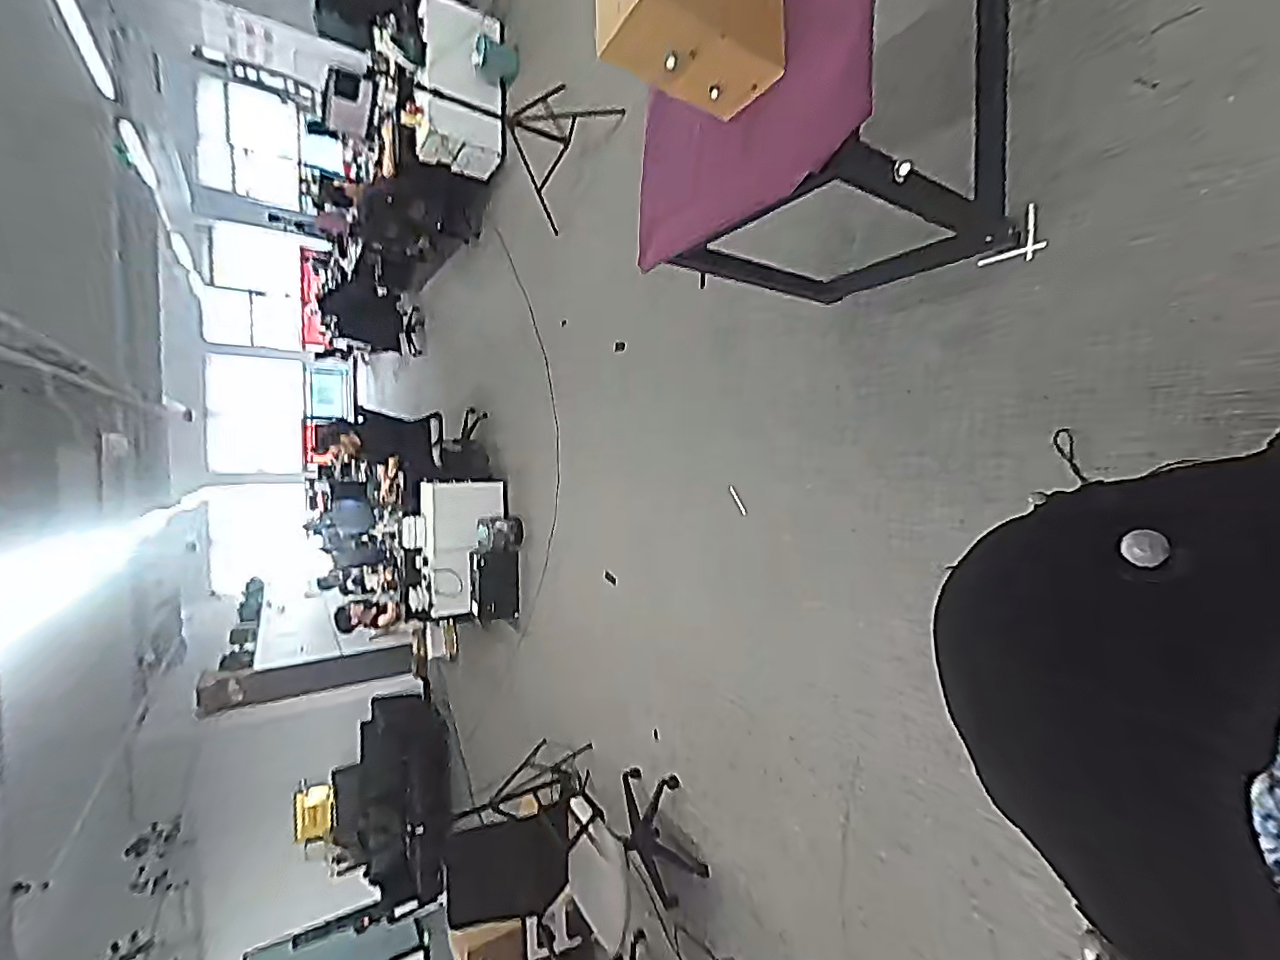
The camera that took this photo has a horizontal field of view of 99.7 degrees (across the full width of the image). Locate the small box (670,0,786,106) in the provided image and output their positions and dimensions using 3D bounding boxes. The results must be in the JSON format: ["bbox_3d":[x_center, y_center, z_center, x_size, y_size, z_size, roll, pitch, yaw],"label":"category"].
[{"bbox_3d":[0.171,-0.874,1.058,0.168,0.176,0.179,-1,90,57],"label":"small box"}]

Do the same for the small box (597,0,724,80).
[{"bbox_3d":[0.036,-0.873,0.964,0.168,0.176,0.179,-1,90,57],"label":"small box"}]
